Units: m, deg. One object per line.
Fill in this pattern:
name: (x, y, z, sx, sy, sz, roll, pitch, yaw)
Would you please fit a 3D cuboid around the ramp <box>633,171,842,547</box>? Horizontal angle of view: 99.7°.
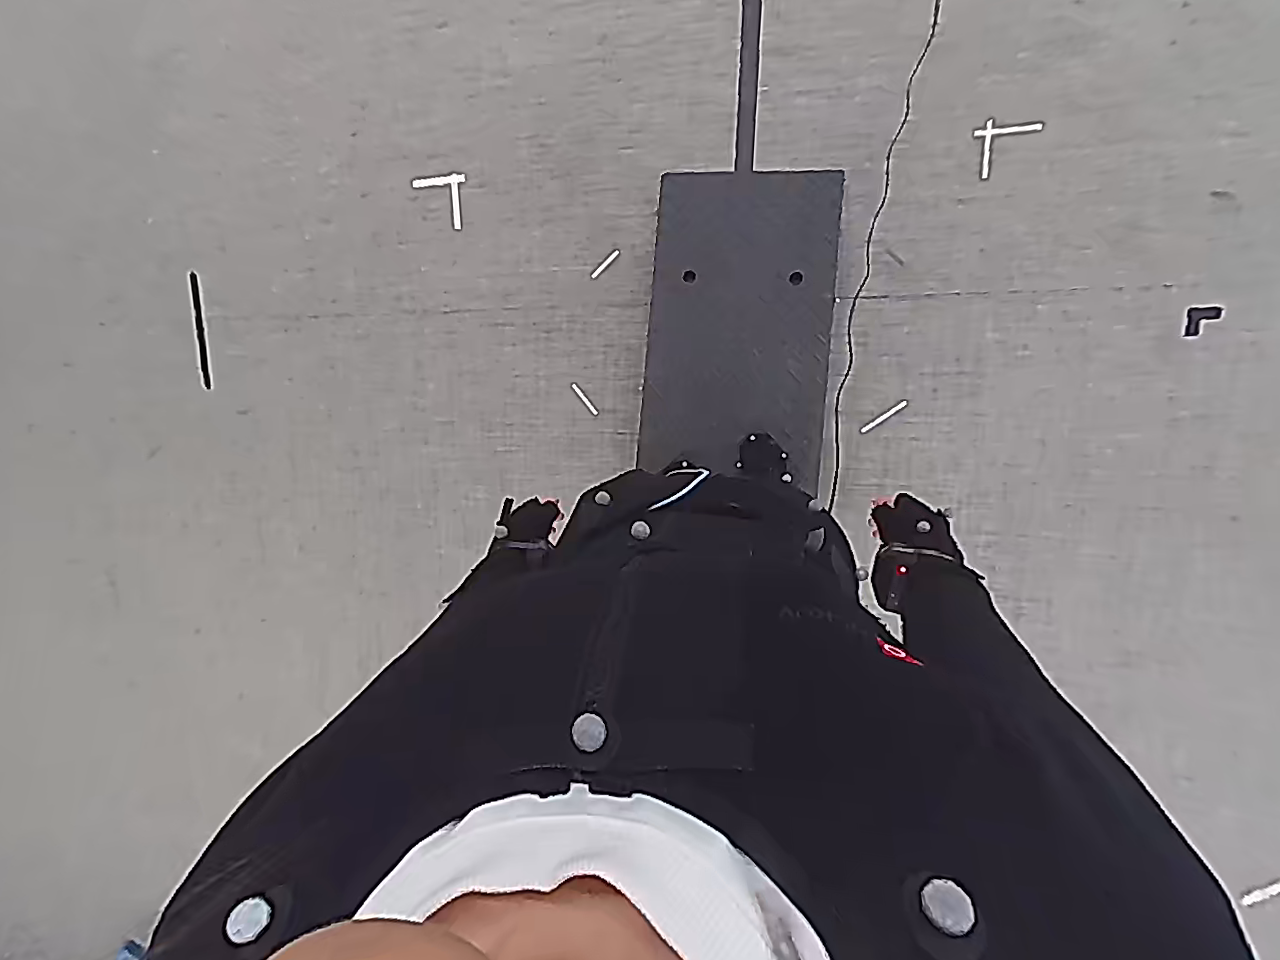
ramp: (0.256, -0.338, 1.461, 0.509, 0.206, 0.991, 3, 98, 12)
